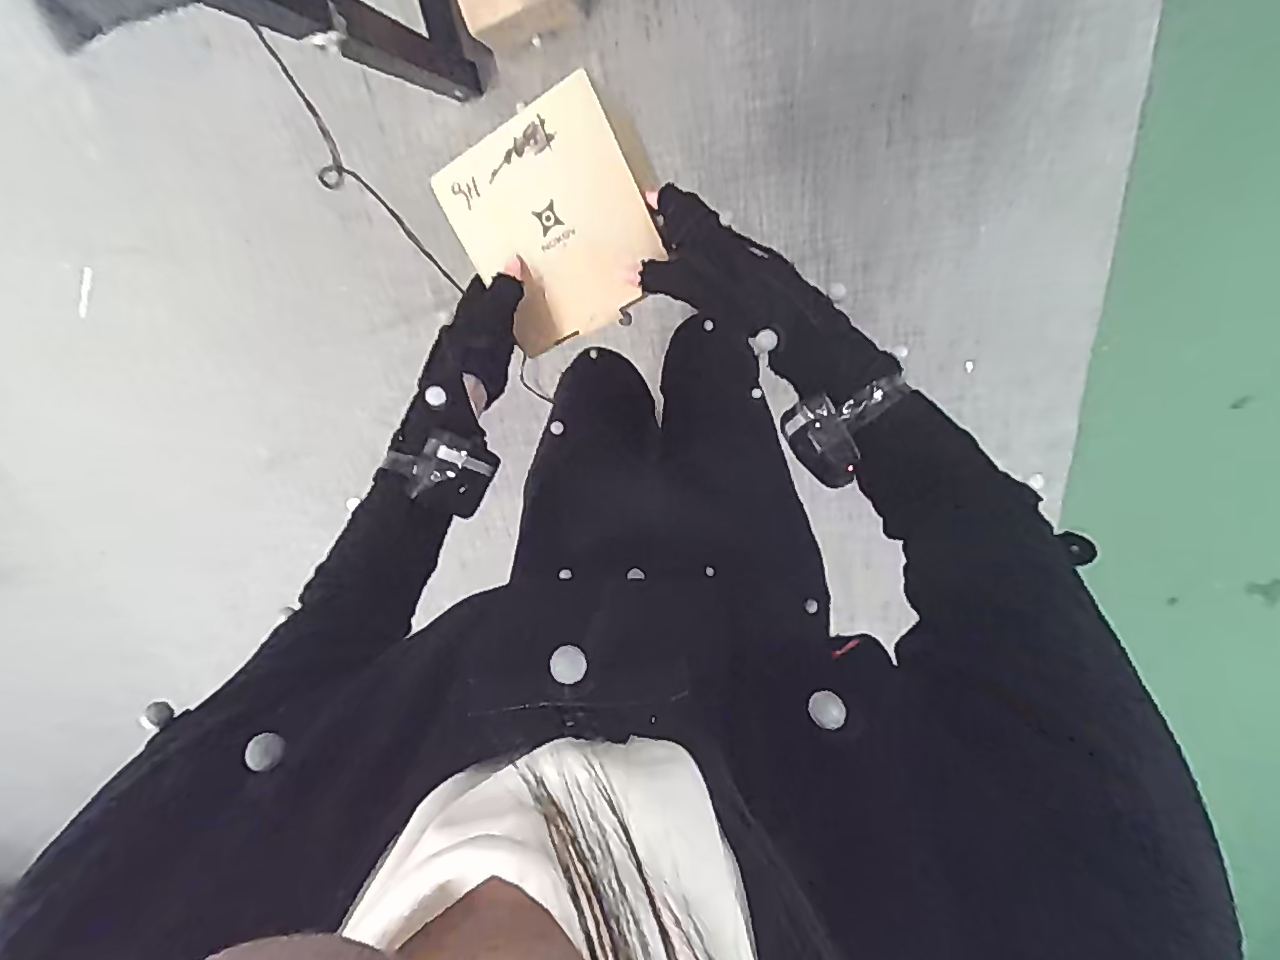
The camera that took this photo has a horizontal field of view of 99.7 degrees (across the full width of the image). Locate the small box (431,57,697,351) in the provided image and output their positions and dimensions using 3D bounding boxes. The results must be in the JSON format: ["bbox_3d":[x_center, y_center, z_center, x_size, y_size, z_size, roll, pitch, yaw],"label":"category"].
[{"bbox_3d":[-0.055,-0.254,0.528,0.168,0.176,0.179,-22,109,20],"label":"small box"}]

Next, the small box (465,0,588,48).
[{"bbox_3d":[-0.198,-0.837,0.859,0.168,0.176,0.179,-13,115,15],"label":"small box"}]
